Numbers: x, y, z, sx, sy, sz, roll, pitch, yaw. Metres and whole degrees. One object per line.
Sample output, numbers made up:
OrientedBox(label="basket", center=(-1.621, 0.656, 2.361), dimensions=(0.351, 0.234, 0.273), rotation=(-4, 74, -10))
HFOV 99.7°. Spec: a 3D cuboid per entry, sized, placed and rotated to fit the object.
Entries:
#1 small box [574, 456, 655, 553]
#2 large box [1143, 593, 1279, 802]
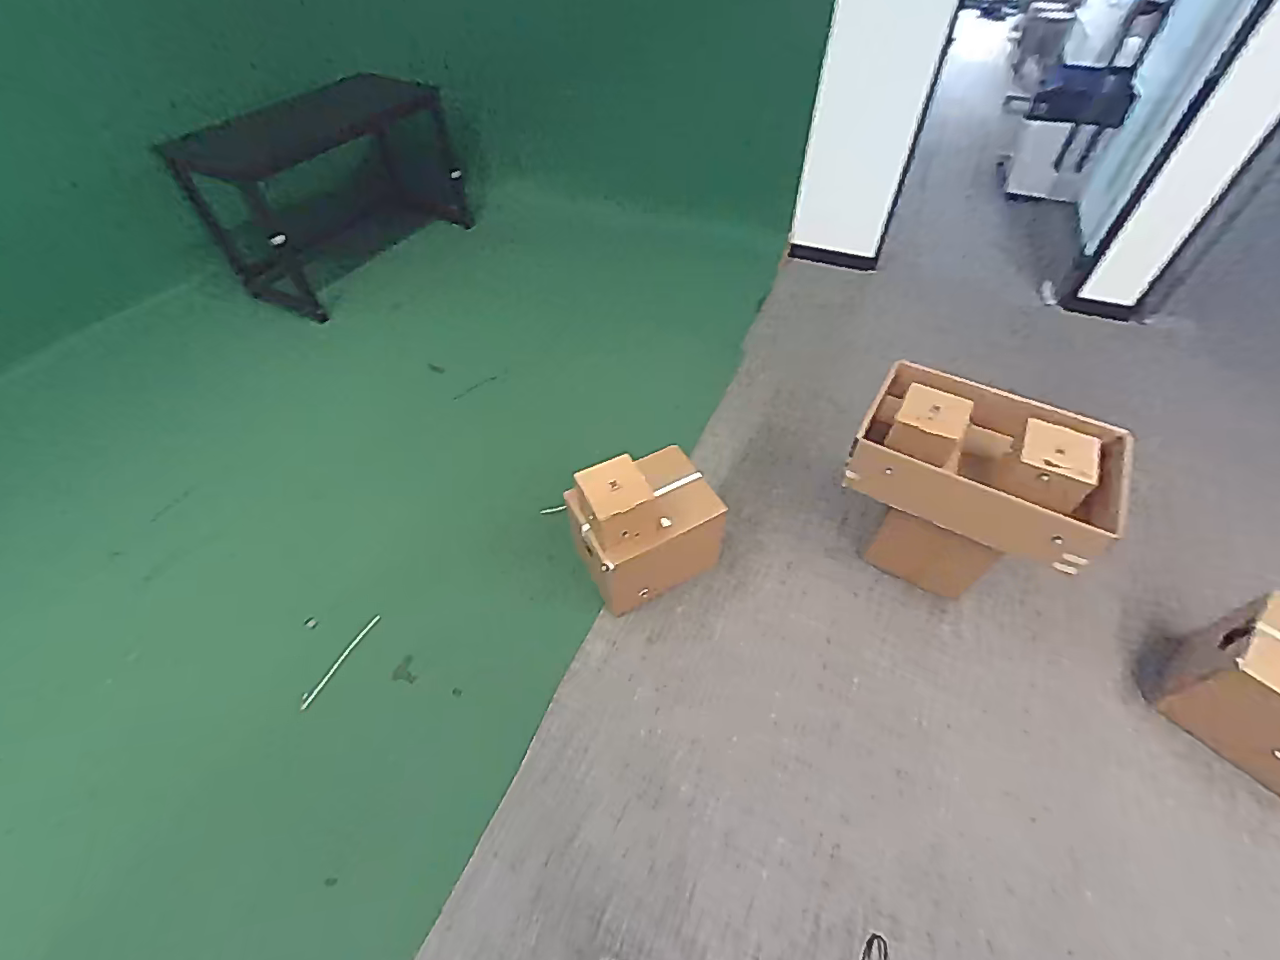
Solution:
OrientedBox(label="small box", center=(-0.073, 0.070, 1.505), dimensions=(0.168, 0.176, 0.179), rotation=(-22, 55, -18))
OrientedBox(label="large box", center=(1.655, 0.579, 1.375), dimensions=(0.320, 0.320, 0.408), rotation=(-35, 57, -25))
